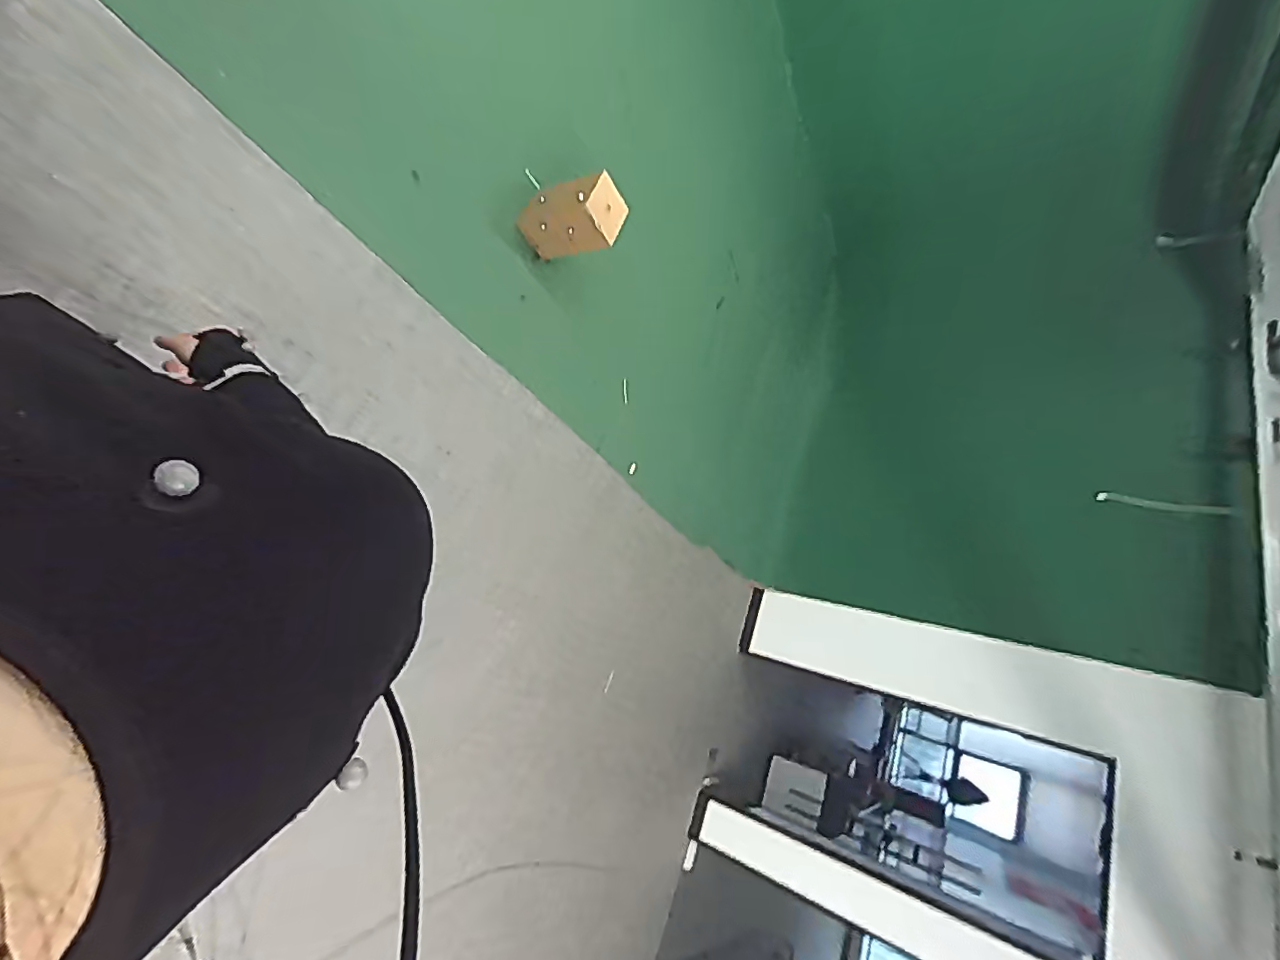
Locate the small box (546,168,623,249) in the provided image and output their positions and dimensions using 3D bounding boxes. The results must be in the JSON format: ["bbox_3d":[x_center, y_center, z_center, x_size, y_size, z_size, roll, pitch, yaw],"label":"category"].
[{"bbox_3d":[-0.191,-0.916,1.837,0.168,0.176,0.179,46,59,-49],"label":"small box"}]
